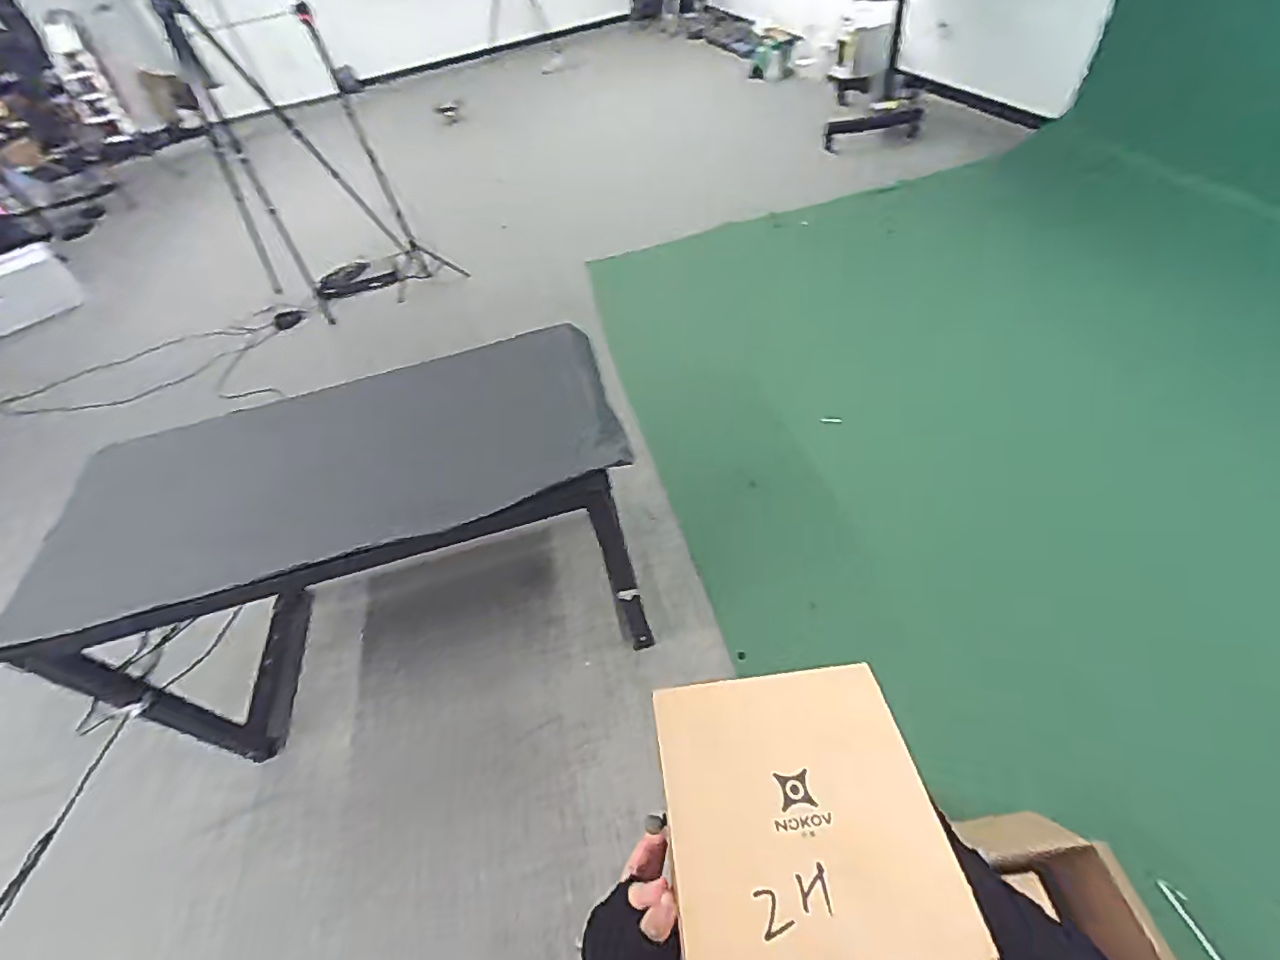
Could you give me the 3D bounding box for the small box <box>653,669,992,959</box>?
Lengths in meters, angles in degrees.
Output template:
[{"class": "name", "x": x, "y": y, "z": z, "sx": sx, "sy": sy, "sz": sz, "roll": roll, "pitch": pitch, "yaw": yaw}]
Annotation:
[{"class": "small box", "x": 0.101, "y": 0.267, "z": 0.395, "sx": 0.168, "sy": 0.176, "sz": 0.179, "roll": -7, "pitch": 43, "yaw": -2}]
